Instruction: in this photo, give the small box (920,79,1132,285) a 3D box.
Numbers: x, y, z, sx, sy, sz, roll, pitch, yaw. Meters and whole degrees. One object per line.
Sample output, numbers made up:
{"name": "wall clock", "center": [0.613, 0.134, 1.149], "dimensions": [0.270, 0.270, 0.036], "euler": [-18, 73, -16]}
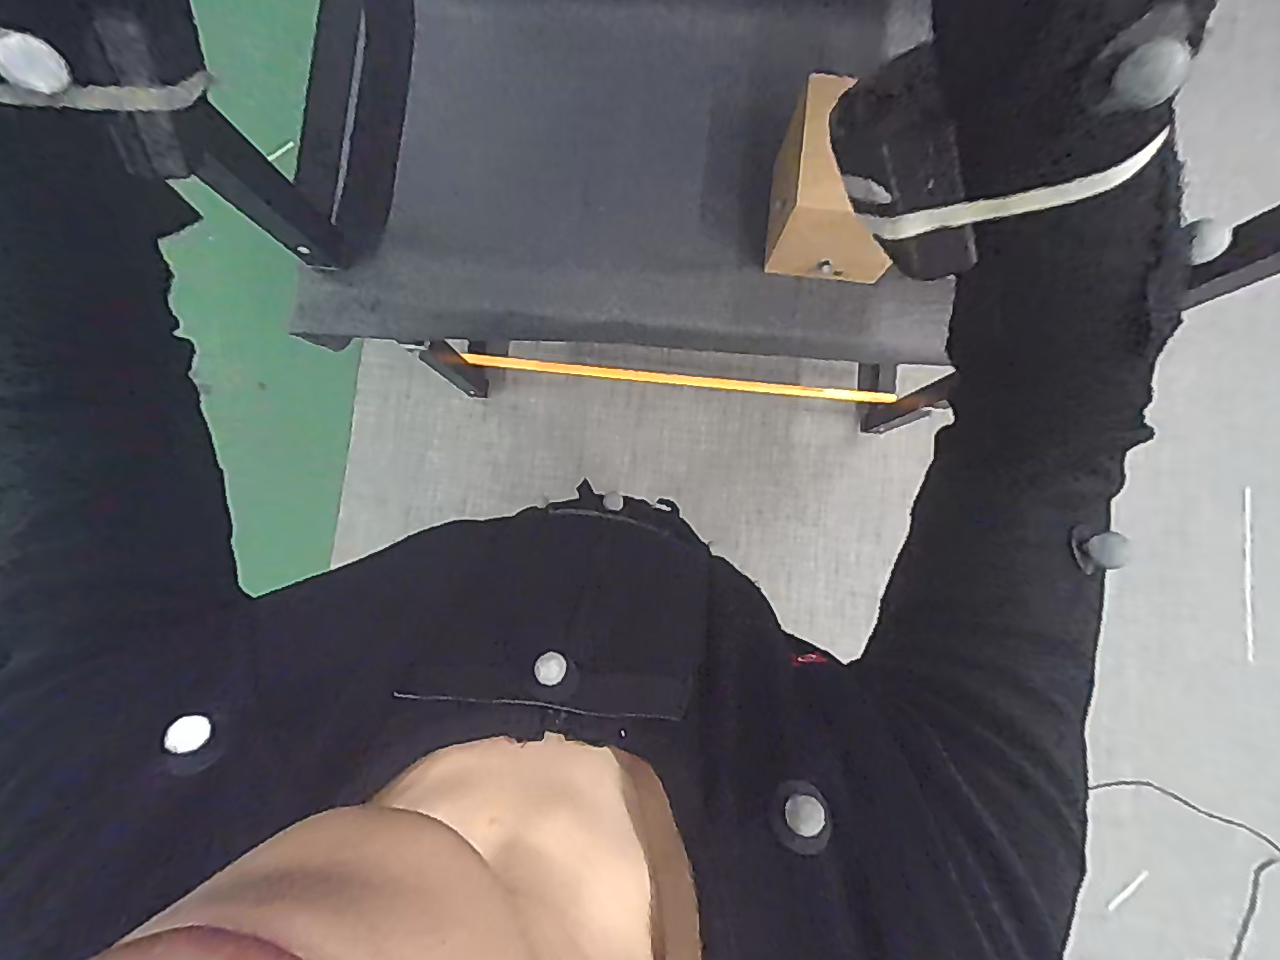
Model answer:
{"name": "small box", "center": [0.506, -0.387, 0.732], "dimensions": [0.168, 0.176, 0.179], "euler": [8, 84, 1]}
